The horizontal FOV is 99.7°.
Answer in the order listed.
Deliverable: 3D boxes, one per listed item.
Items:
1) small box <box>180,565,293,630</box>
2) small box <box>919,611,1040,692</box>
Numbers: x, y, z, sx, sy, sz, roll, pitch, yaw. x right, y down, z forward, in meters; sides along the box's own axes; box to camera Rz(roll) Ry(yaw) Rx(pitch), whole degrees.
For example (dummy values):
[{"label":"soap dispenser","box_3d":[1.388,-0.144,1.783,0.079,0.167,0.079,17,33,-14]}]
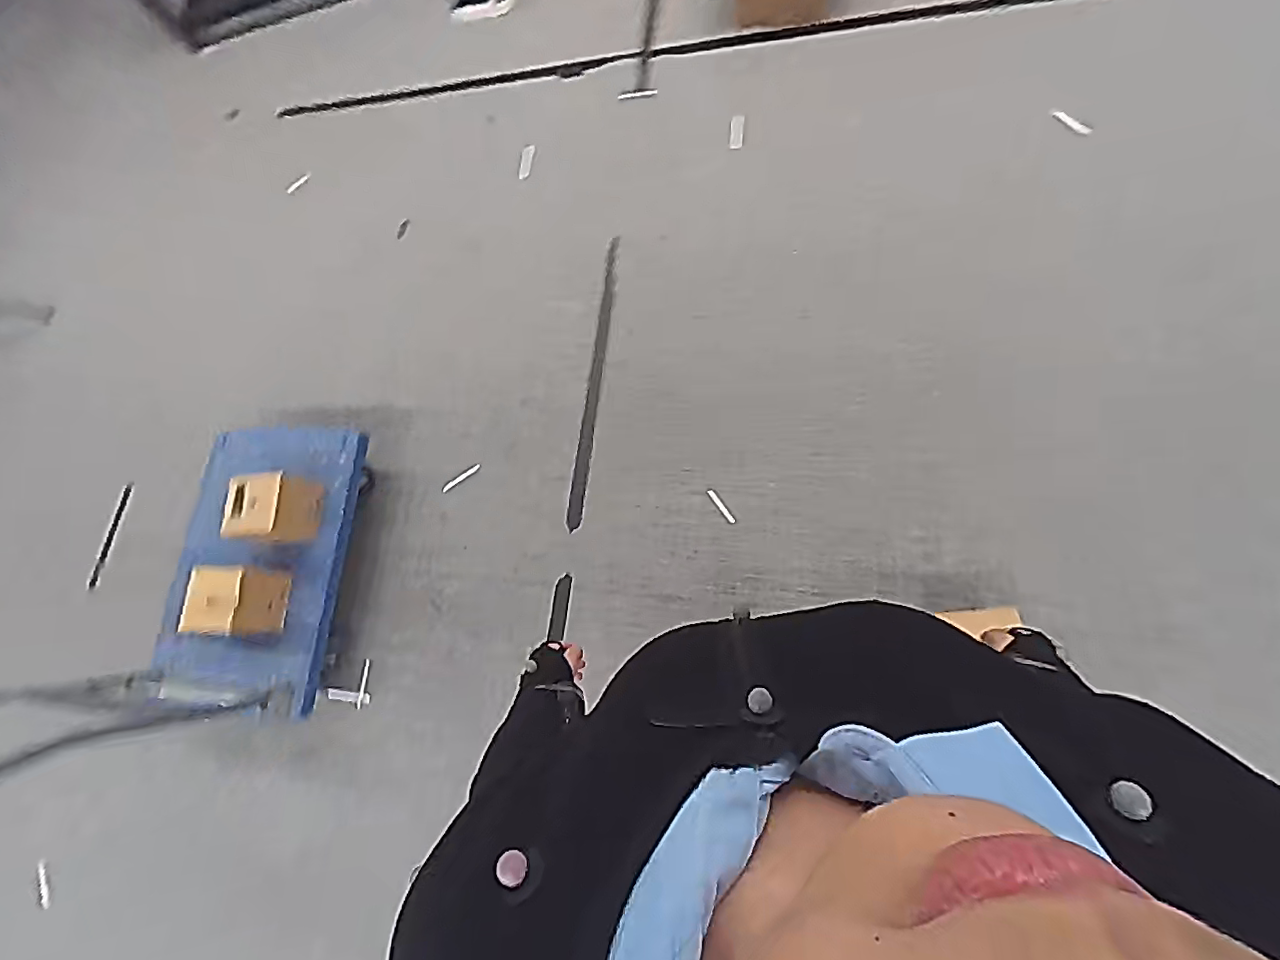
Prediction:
[{"label":"small box","box_3d":[-1.138,0.336,1.535,0.179,0.176,0.168,-2,74,12]},{"label":"small box","box_3d":[0.785,0.398,1.270,0.179,0.176,0.168,-8,72,11]}]
